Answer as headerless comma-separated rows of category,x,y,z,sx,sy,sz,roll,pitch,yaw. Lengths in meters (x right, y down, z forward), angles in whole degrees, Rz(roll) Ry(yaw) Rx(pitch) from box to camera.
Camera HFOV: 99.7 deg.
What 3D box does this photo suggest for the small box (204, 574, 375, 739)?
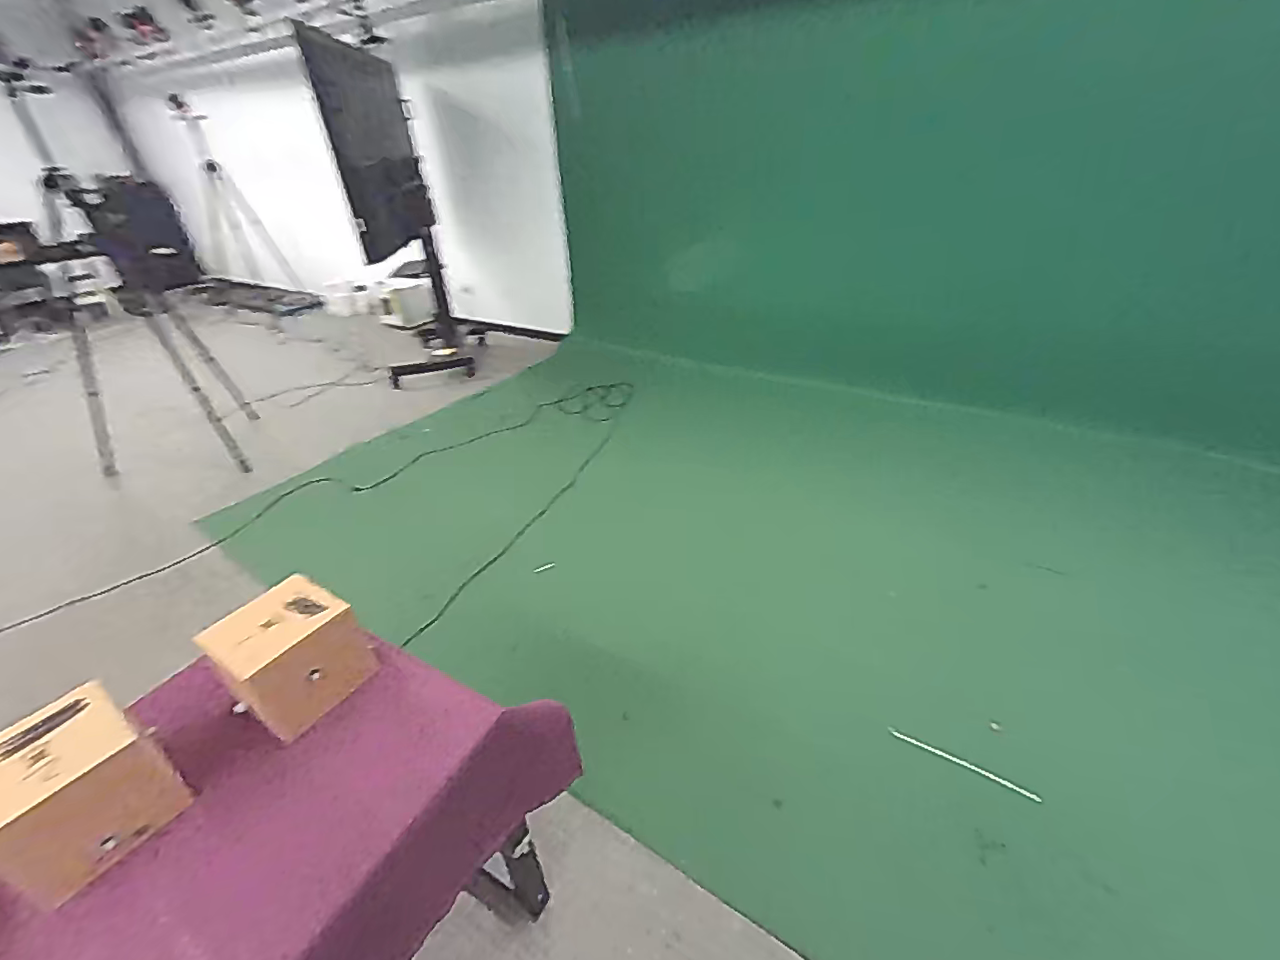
small box,-0.590,0.301,0.938,0.168,0.176,0.179,17,39,29
